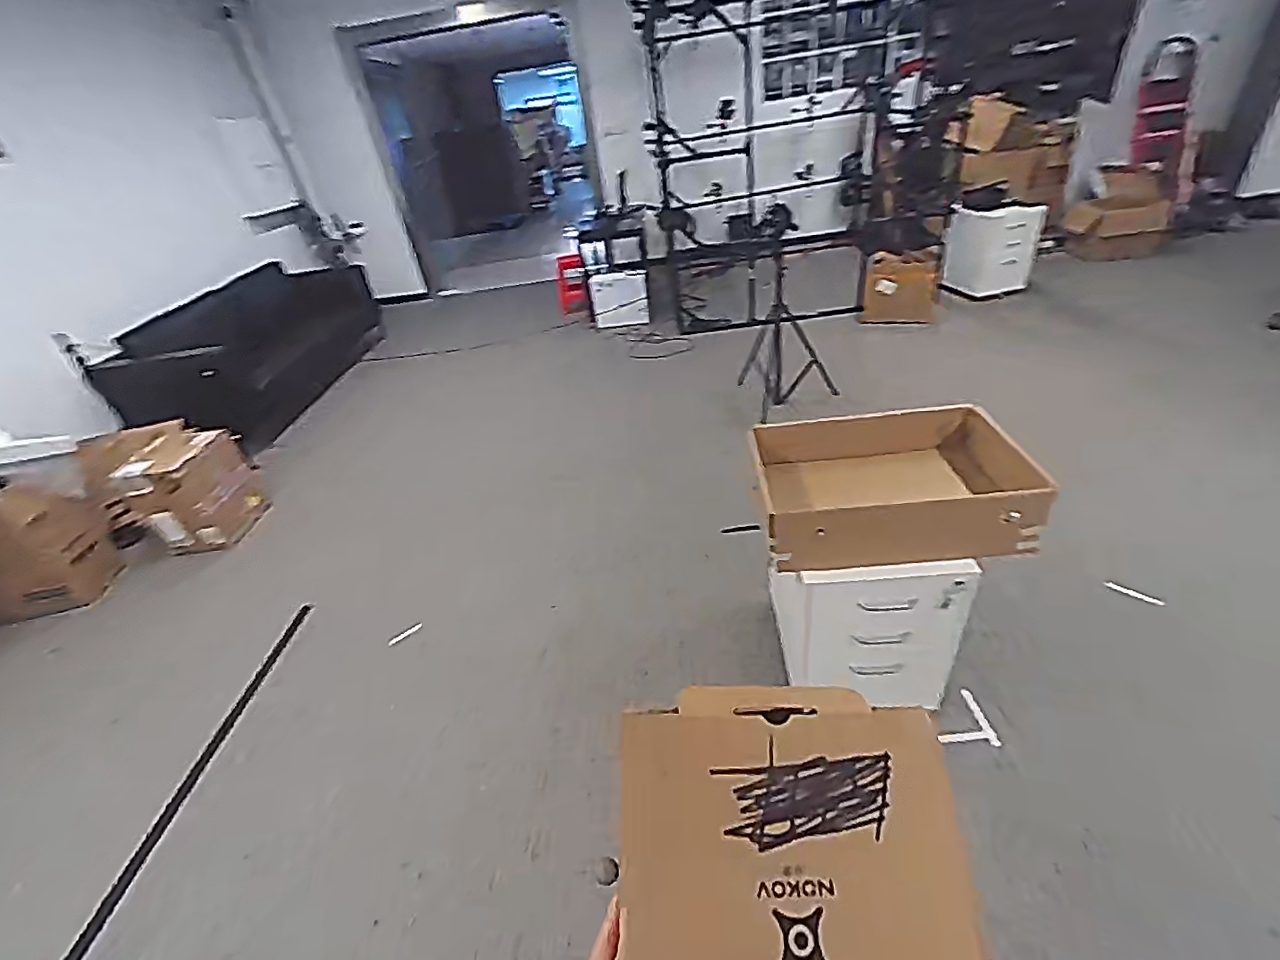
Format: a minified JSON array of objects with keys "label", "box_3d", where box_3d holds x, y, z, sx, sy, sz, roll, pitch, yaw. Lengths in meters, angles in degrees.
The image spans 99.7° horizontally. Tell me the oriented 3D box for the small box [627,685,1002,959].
[{"label":"small box","box_3d":[0.077,0.228,0.322,0.168,0.176,0.179,0,61,-1]}]
